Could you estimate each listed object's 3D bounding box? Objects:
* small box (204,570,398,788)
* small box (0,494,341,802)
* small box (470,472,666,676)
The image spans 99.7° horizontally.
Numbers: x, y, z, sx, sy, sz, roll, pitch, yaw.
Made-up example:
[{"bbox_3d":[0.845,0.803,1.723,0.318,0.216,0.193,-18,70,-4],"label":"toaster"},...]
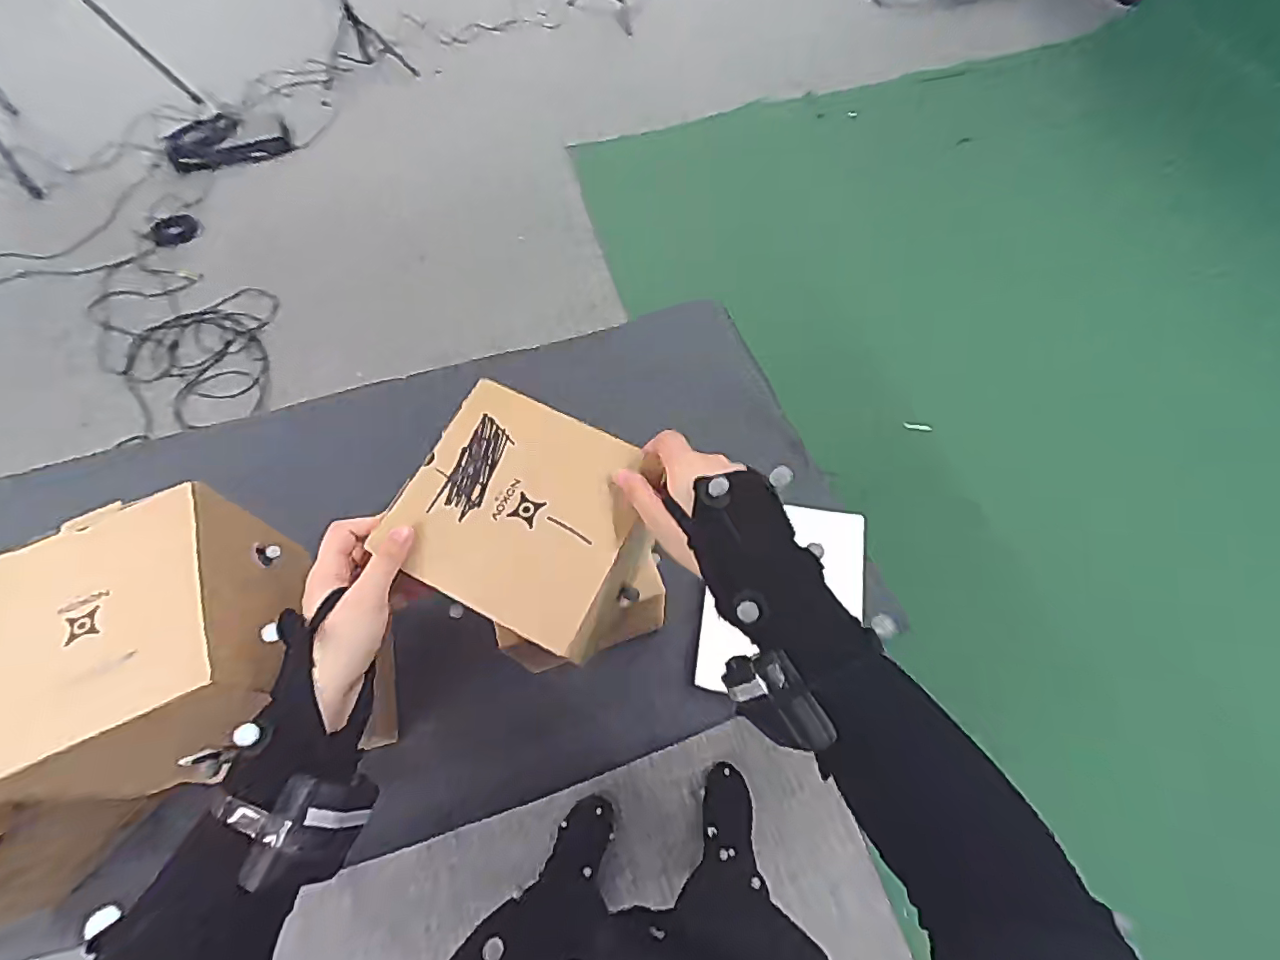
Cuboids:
[{"bbox_3d":[-0.387,0.226,0.600,0.168,0.176,0.179,-15,61,-5],"label":"small box"},{"bbox_3d":[-0.389,0.147,0.458,0.168,0.176,0.179,-25,64,-10],"label":"small box"},{"bbox_3d":[-0.078,0.118,0.642,0.179,0.176,0.168,-19,64,-6],"label":"small box"}]
